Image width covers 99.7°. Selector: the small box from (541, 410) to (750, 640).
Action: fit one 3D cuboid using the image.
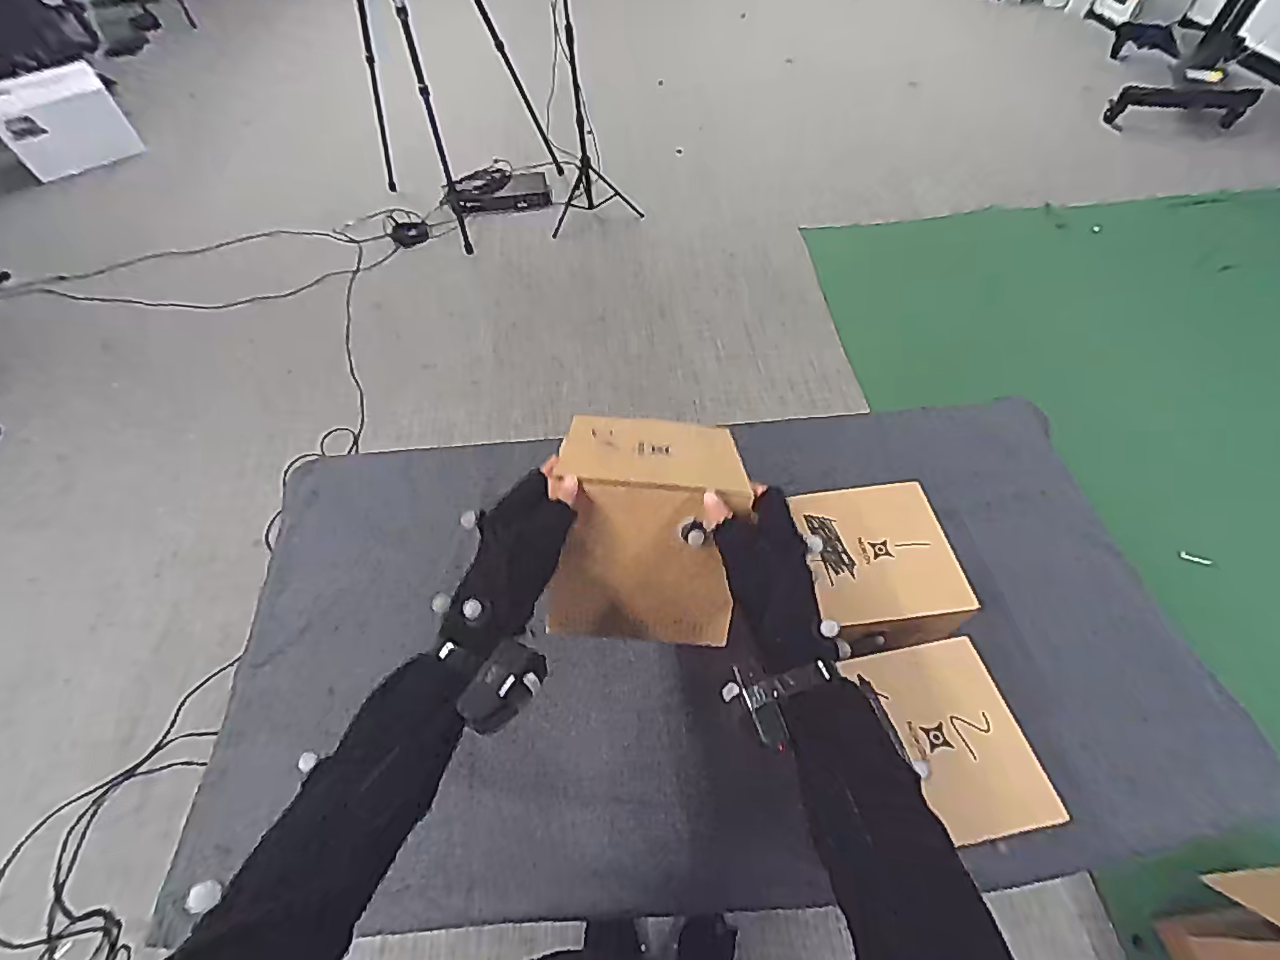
[{"bbox_3d":[0.002,0.041,0.548,0.179,0.176,0.168,5,24,0],"label":"small box"}]
